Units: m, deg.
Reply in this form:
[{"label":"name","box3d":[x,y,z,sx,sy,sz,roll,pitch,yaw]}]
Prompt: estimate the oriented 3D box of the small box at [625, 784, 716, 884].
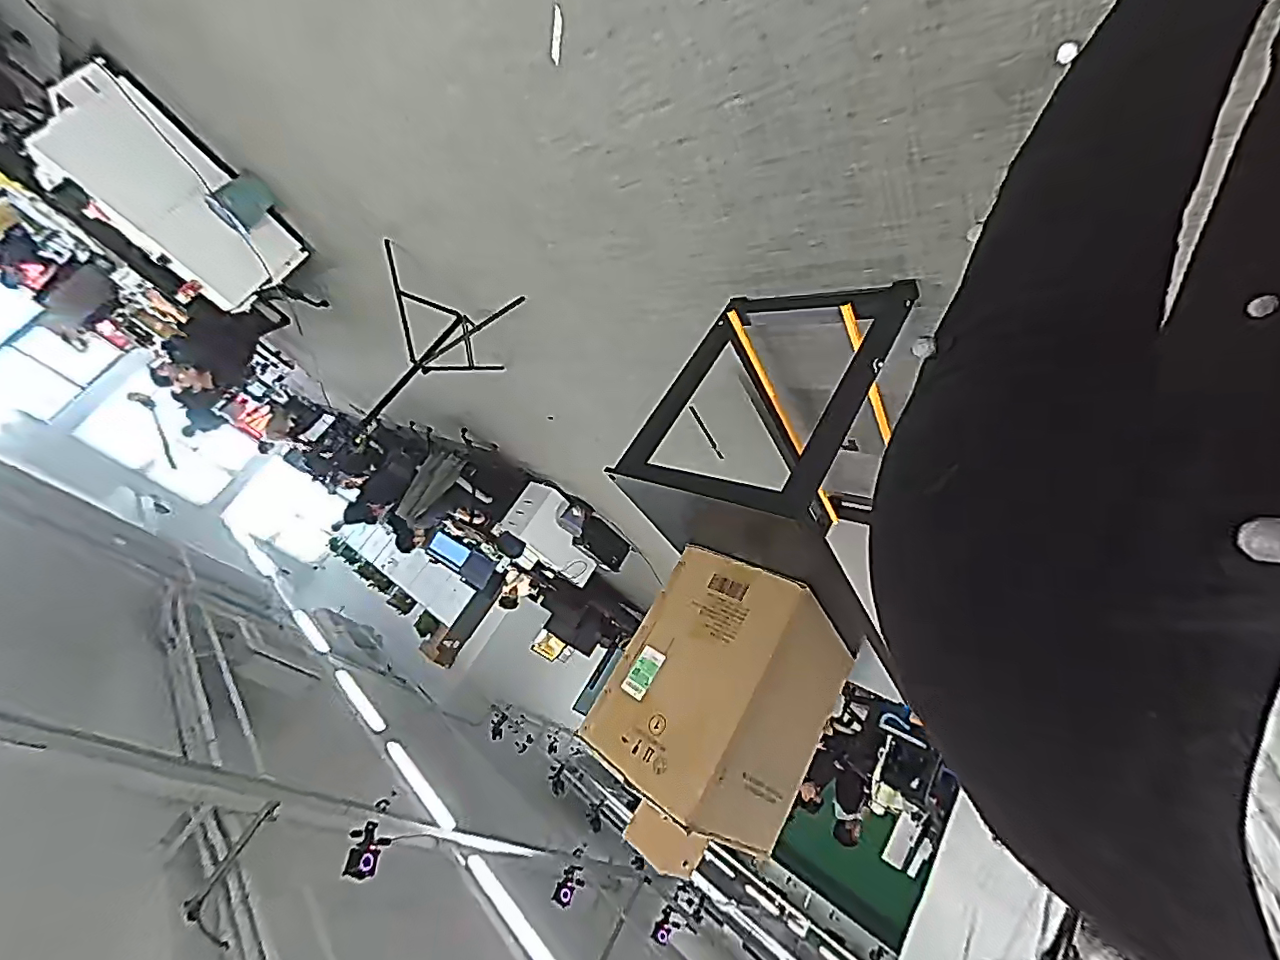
[{"label":"small box","box3d":[0.095,1.027,1.576,0.168,0.176,0.179,17,154,44]}]
